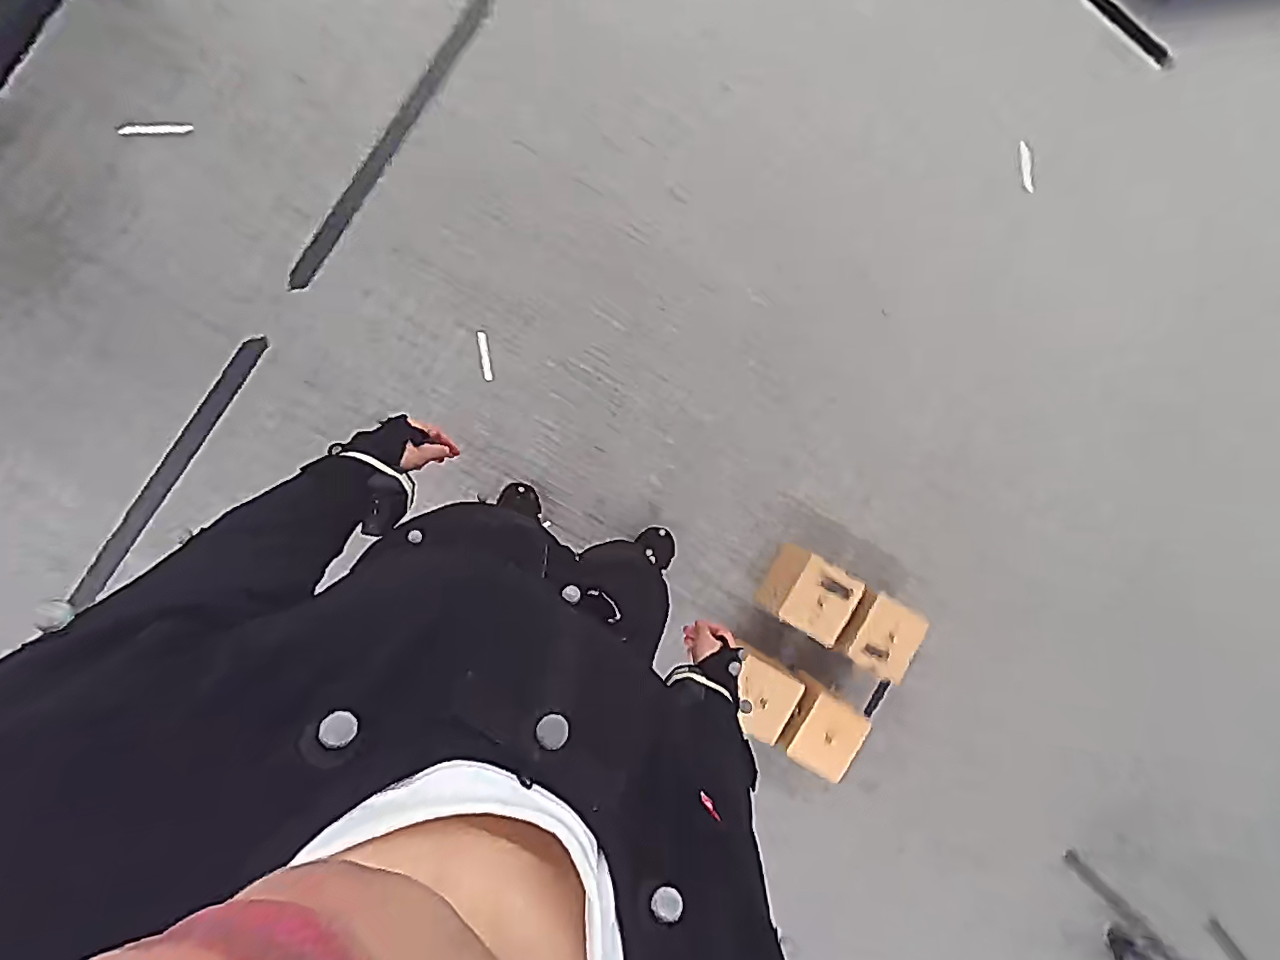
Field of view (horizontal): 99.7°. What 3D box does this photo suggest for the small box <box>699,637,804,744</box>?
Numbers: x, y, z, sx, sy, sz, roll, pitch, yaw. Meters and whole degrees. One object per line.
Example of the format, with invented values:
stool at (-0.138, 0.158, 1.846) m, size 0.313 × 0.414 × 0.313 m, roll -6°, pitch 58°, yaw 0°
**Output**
small box at (0.279, 0.529, 1.387) m, size 0.179 × 0.176 × 0.168 m, roll 32°, pitch 88°, yaw -7°
